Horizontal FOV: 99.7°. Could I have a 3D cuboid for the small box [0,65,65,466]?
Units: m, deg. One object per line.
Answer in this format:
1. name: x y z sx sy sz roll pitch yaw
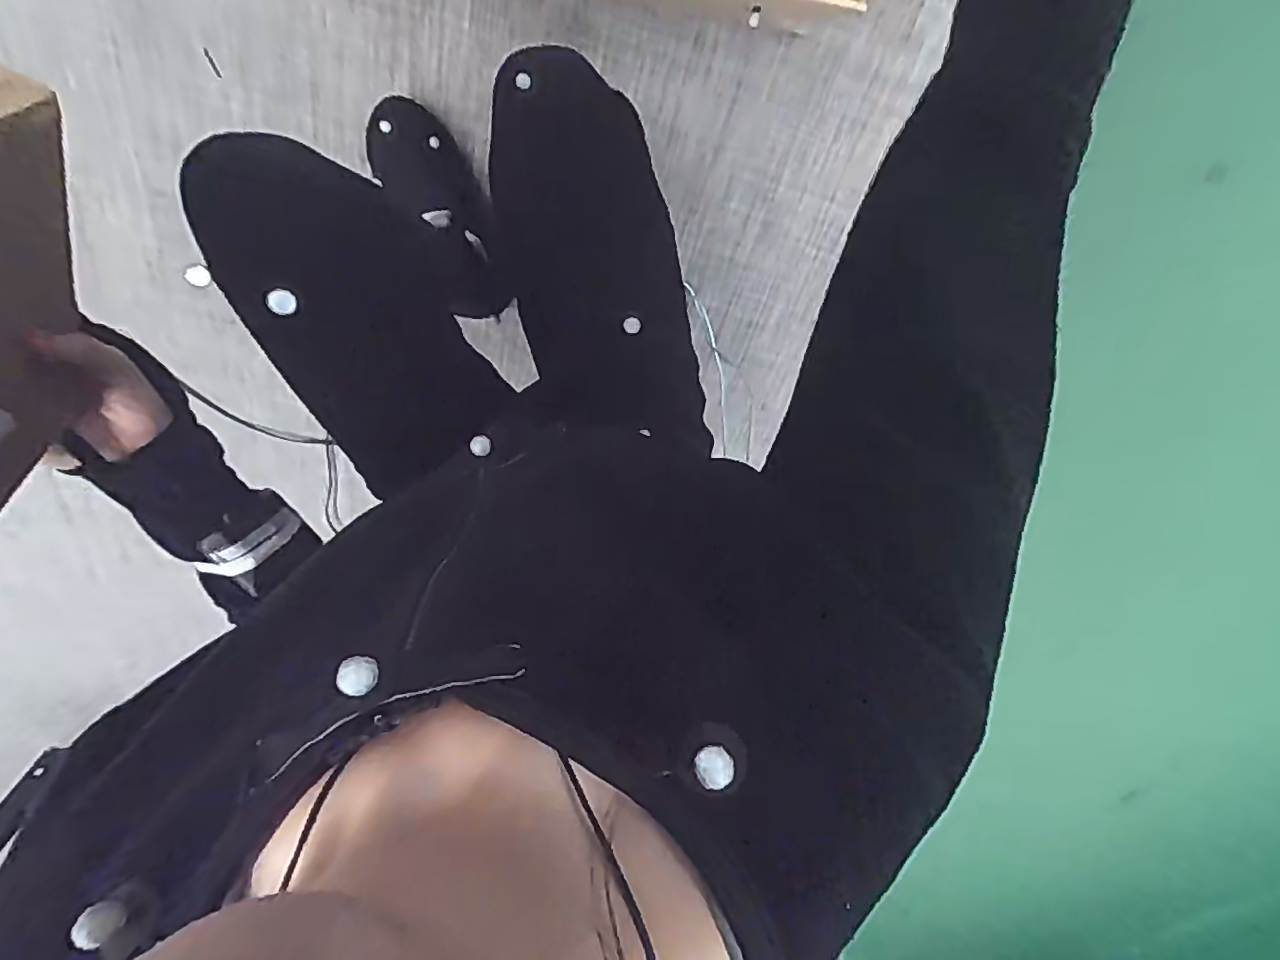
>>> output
1. small box: -0.326 -0.065 0.166 0.168 0.176 0.179 14 129 -32
